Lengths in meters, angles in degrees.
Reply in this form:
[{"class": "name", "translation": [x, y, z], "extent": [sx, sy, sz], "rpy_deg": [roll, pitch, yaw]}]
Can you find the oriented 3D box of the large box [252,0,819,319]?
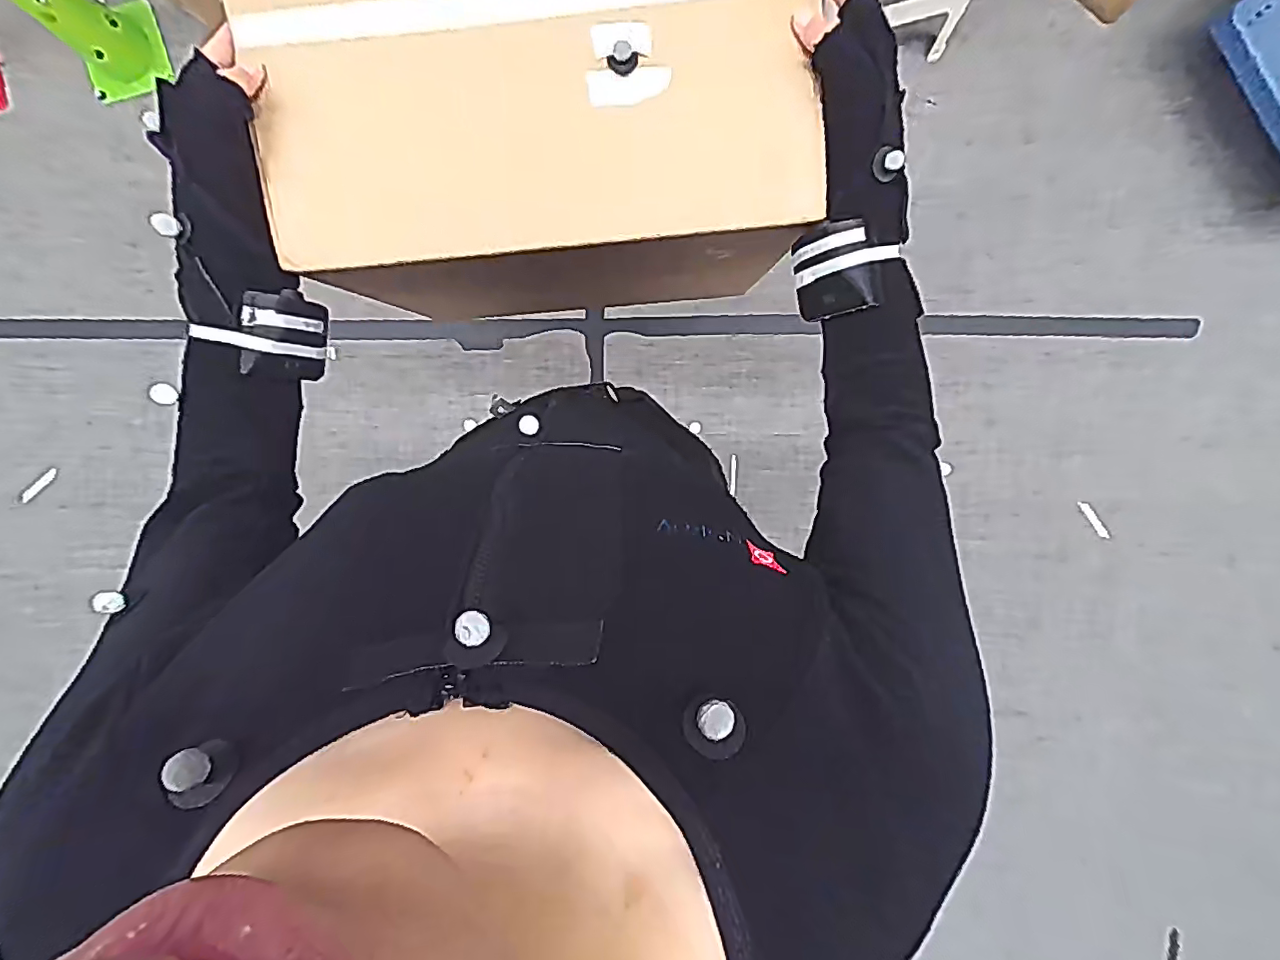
[{"class": "large box", "translation": [-0.079, -0.357, 0.532], "extent": [0.408, 0.320, 0.320], "rpy_deg": [-5, 99, 1]}]
